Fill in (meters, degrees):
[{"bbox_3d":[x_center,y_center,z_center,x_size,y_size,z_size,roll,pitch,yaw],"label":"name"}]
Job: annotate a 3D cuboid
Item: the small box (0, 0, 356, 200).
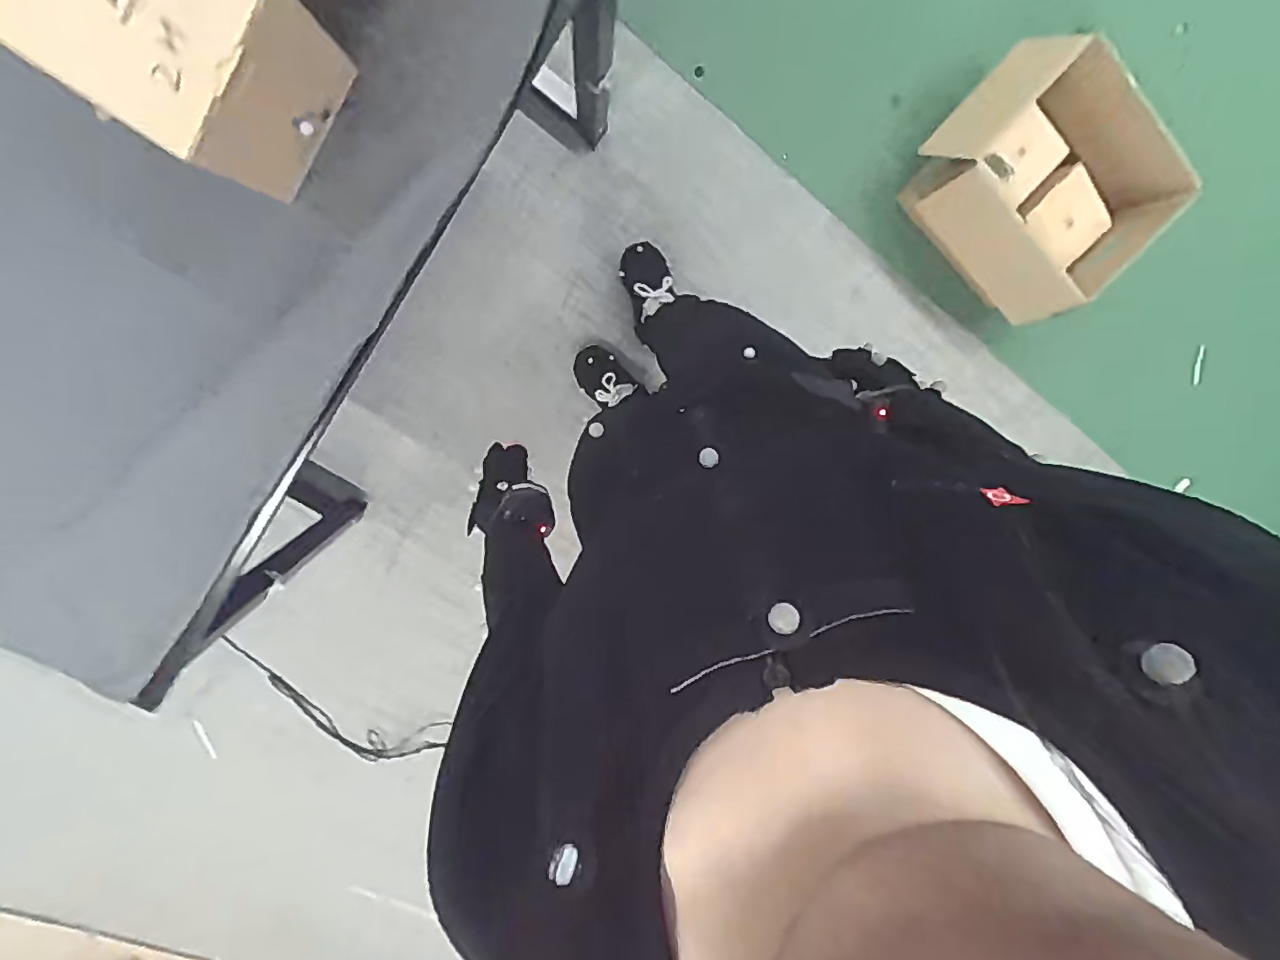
[{"bbox_3d":[-0.412,-0.396,0.505,0.179,0.176,0.168,33,100,-12],"label":"small box"}]
